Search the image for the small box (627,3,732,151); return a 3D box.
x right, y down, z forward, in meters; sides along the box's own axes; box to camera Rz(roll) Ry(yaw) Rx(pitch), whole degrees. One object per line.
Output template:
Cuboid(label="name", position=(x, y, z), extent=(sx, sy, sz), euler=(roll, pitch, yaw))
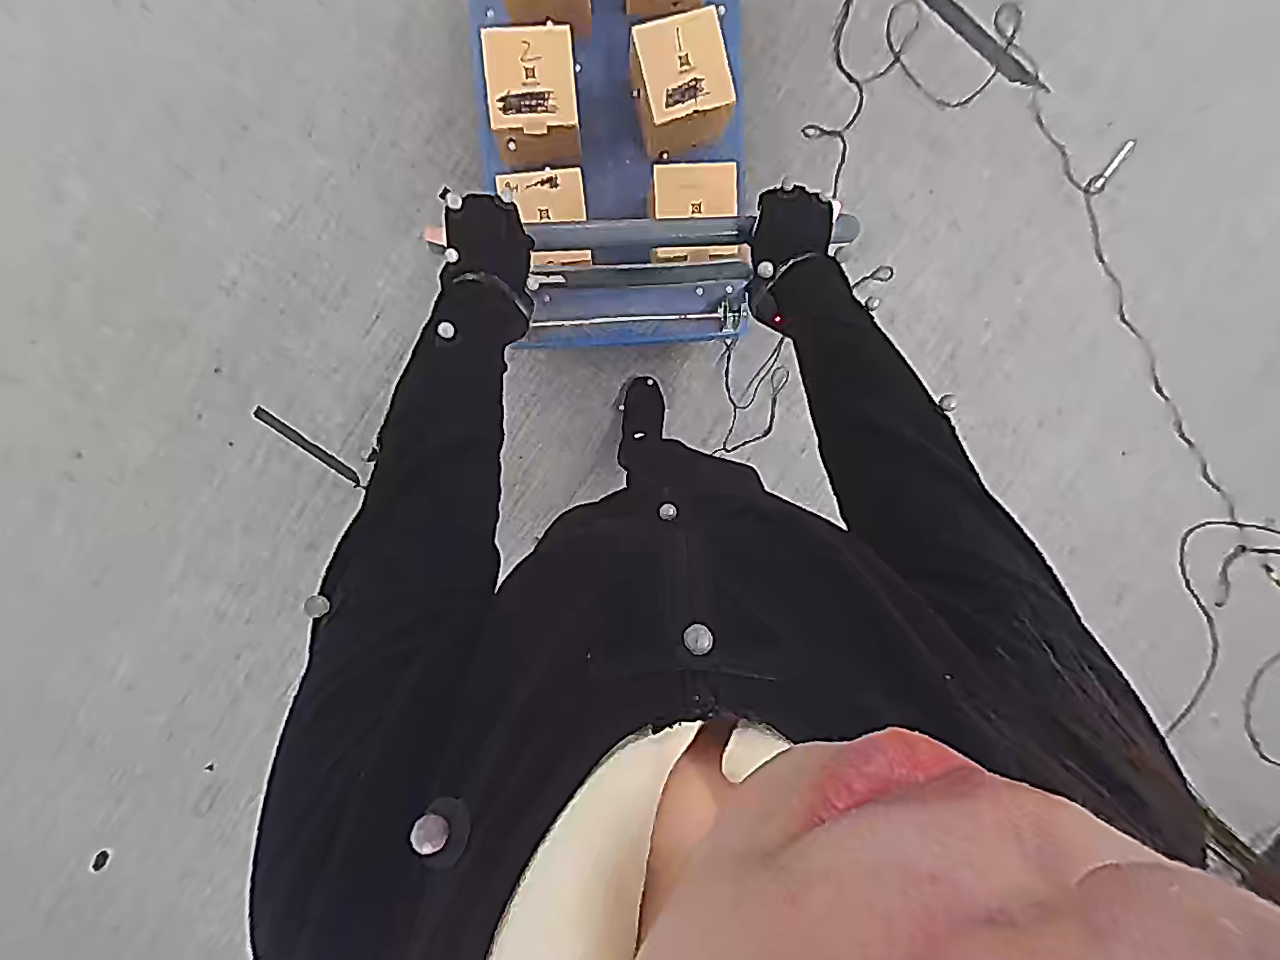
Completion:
Cuboid(label="small box", position=(0.074, -0.803, 1.103), extent=(0.168, 0.176, 0.179), euler=(-16, 99, -1))

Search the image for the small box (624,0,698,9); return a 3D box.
Cuboid(label="small box", position=(0.041, -1.070, 1.059), extent=(0.168, 0.176, 0.179), euler=(-7, 99, -3))

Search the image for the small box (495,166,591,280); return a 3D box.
Cuboid(label="small box", position=(-0.193, -0.524, 1.127), extent=(0.168, 0.176, 0.179), euler=(-7, 99, -4))

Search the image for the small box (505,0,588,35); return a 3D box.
Cuboid(label="small box", position=(-0.188, -1.017, 1.050), extent=(0.168, 0.176, 0.179), euler=(-2, 100, -3))

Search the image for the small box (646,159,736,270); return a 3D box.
Cuboid(label="small box", position=(0.103, -0.550, 1.145), extent=(0.168, 0.176, 0.179), euler=(-4, 98, -4))
